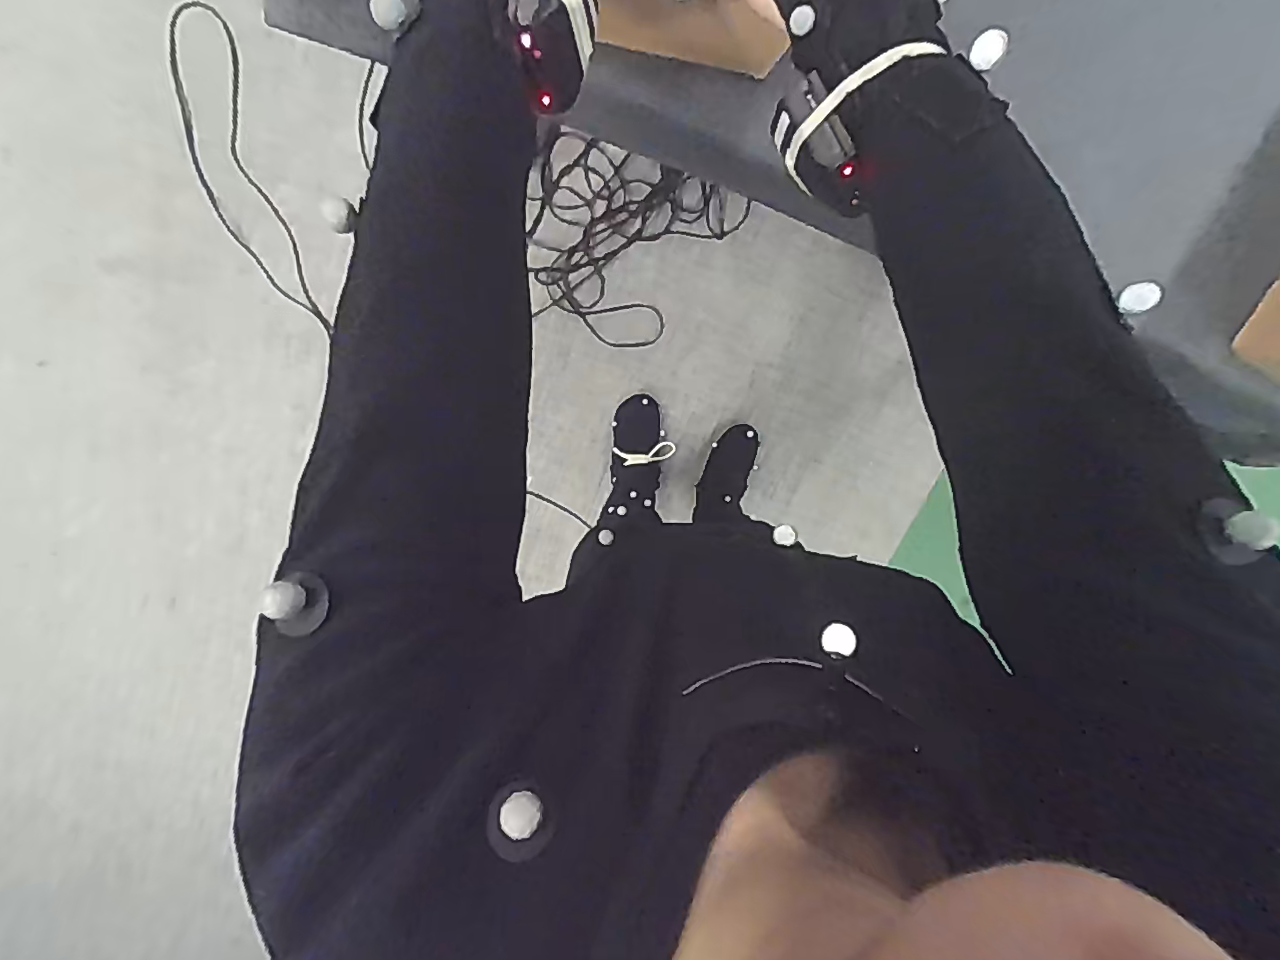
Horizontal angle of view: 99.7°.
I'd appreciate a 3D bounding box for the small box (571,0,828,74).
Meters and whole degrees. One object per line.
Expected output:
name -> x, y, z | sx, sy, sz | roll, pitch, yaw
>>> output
small box -> 0.047, -0.416, 0.372 | 0.179, 0.176, 0.168 | 8, 106, -6
